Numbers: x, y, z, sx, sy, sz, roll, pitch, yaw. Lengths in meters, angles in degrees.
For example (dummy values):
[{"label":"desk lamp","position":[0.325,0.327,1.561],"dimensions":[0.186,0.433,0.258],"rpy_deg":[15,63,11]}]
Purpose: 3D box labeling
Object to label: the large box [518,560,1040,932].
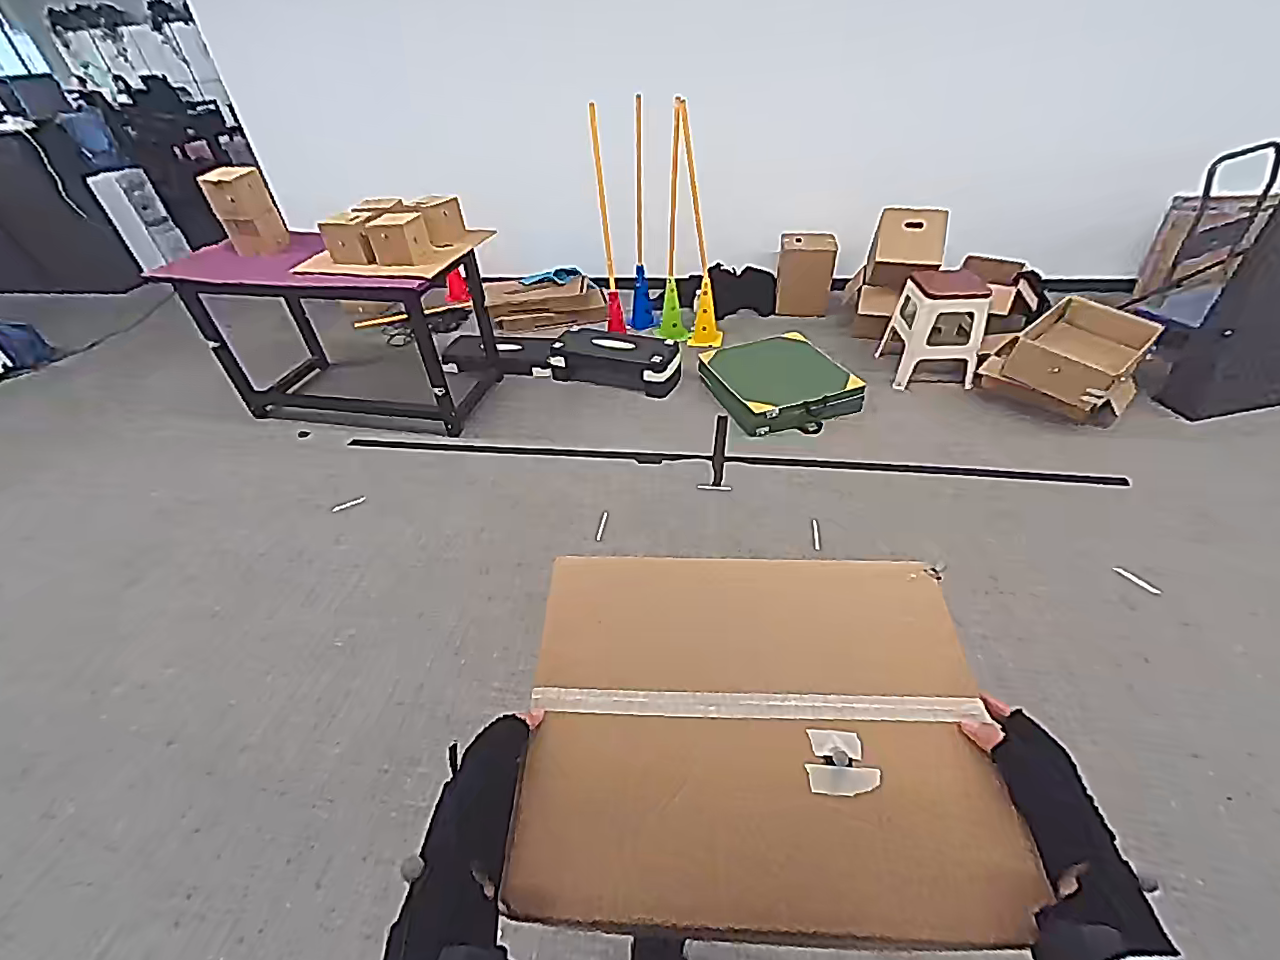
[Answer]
[{"label":"large box","position":[0.111,0.305,0.618],"dimensions":[0.408,0.320,0.320],"rpy_deg":[1,50,4]}]
